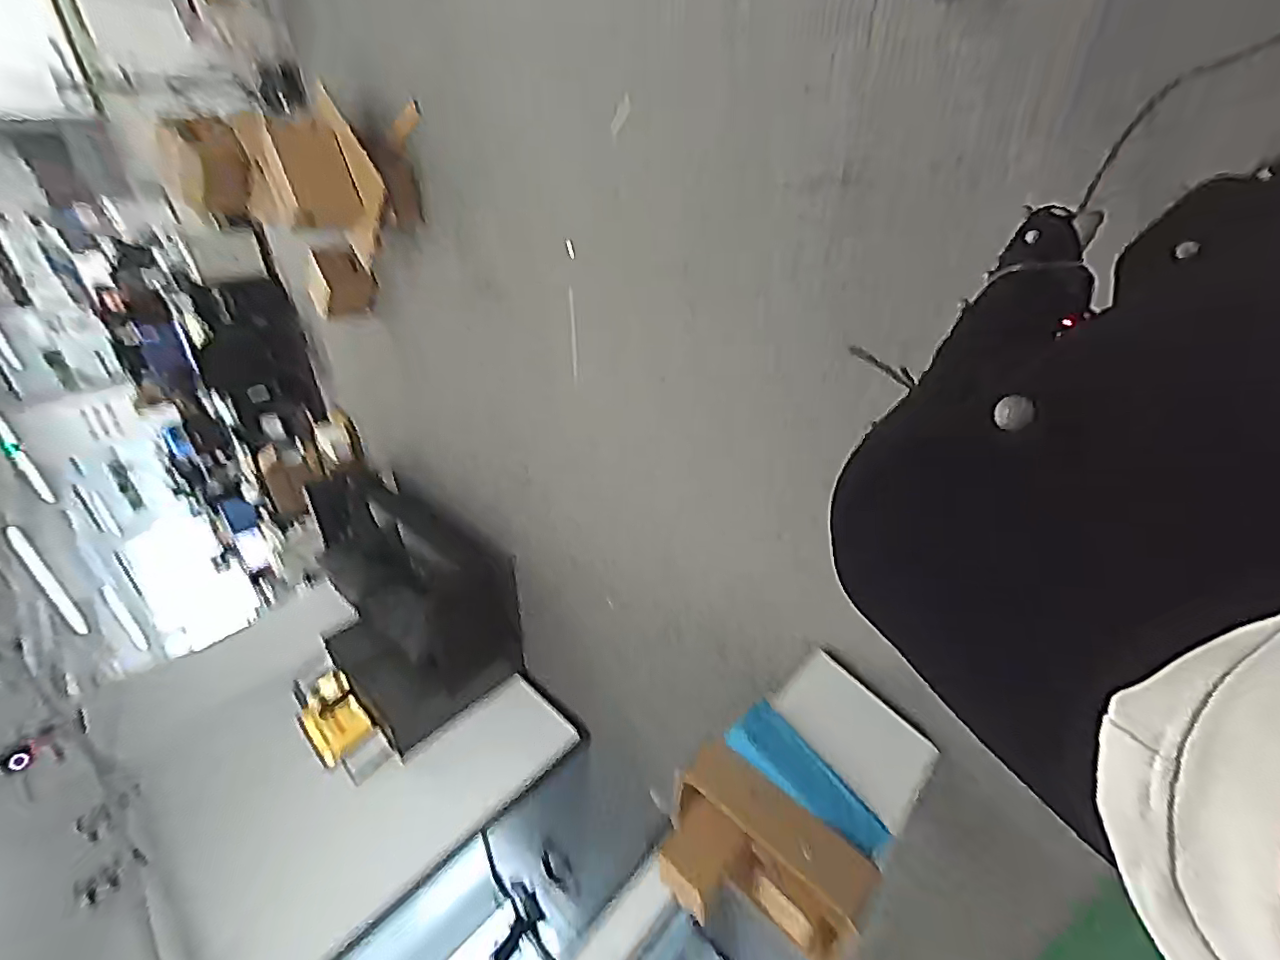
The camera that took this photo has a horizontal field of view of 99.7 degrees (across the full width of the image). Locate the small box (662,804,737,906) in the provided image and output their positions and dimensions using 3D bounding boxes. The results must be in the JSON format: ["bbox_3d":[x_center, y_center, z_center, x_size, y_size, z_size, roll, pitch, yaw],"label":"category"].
[{"bbox_3d":[0.192,1.182,1.717,0.179,0.176,0.168,24,130,38],"label":"small box"}]

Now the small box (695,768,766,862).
[{"bbox_3d":[0.304,1.116,1.816,0.179,0.176,0.168,25,131,37],"label":"small box"}]
